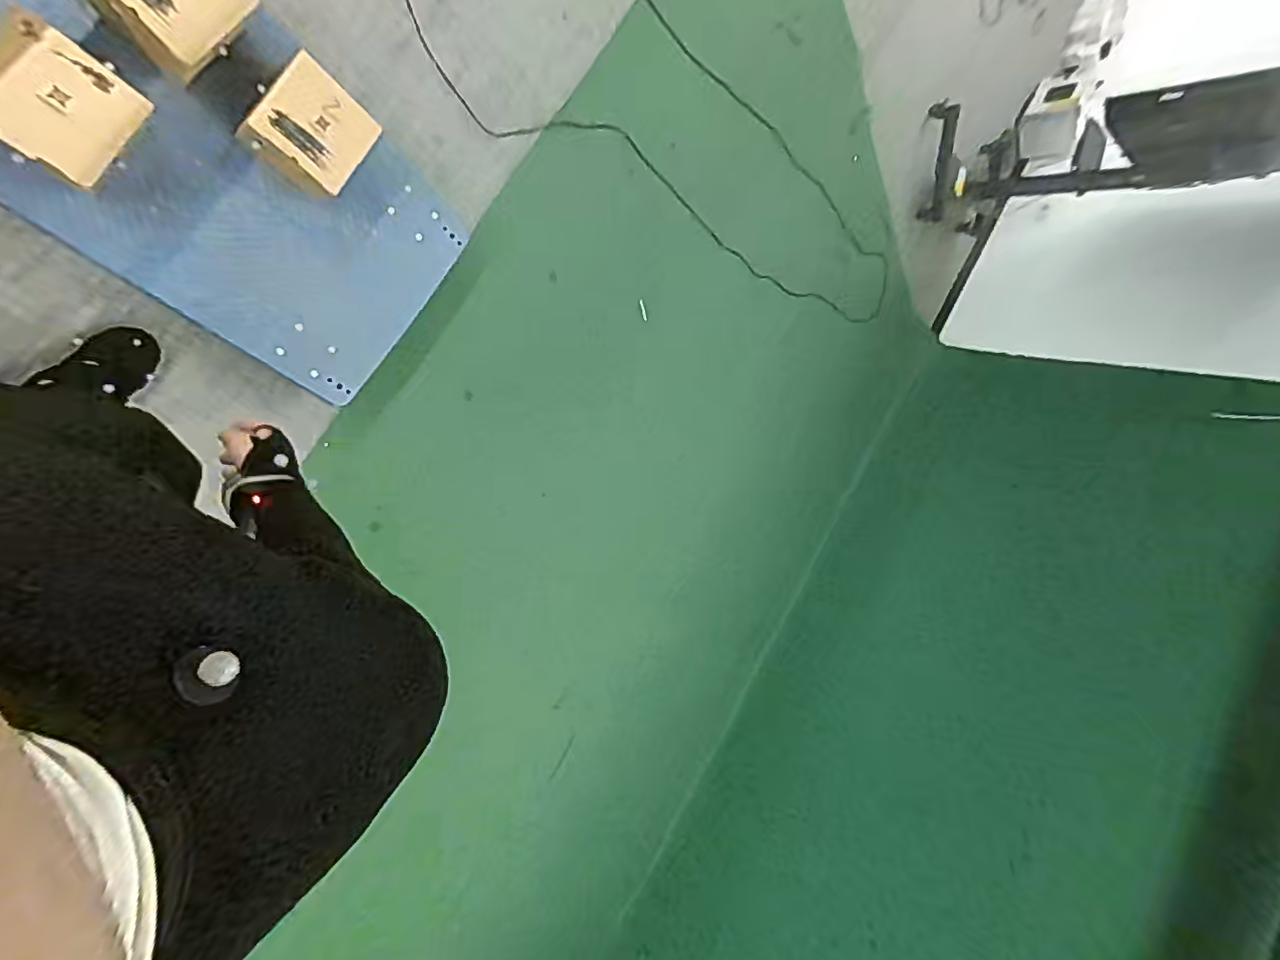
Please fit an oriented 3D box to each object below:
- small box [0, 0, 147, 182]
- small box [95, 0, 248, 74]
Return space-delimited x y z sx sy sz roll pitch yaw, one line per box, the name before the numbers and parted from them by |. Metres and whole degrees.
small box | -0.923 -0.598 0.847 0.168 0.176 0.179 38 79 -47
small box | -0.787 -0.819 0.891 0.179 0.176 0.168 -57 137 -12
